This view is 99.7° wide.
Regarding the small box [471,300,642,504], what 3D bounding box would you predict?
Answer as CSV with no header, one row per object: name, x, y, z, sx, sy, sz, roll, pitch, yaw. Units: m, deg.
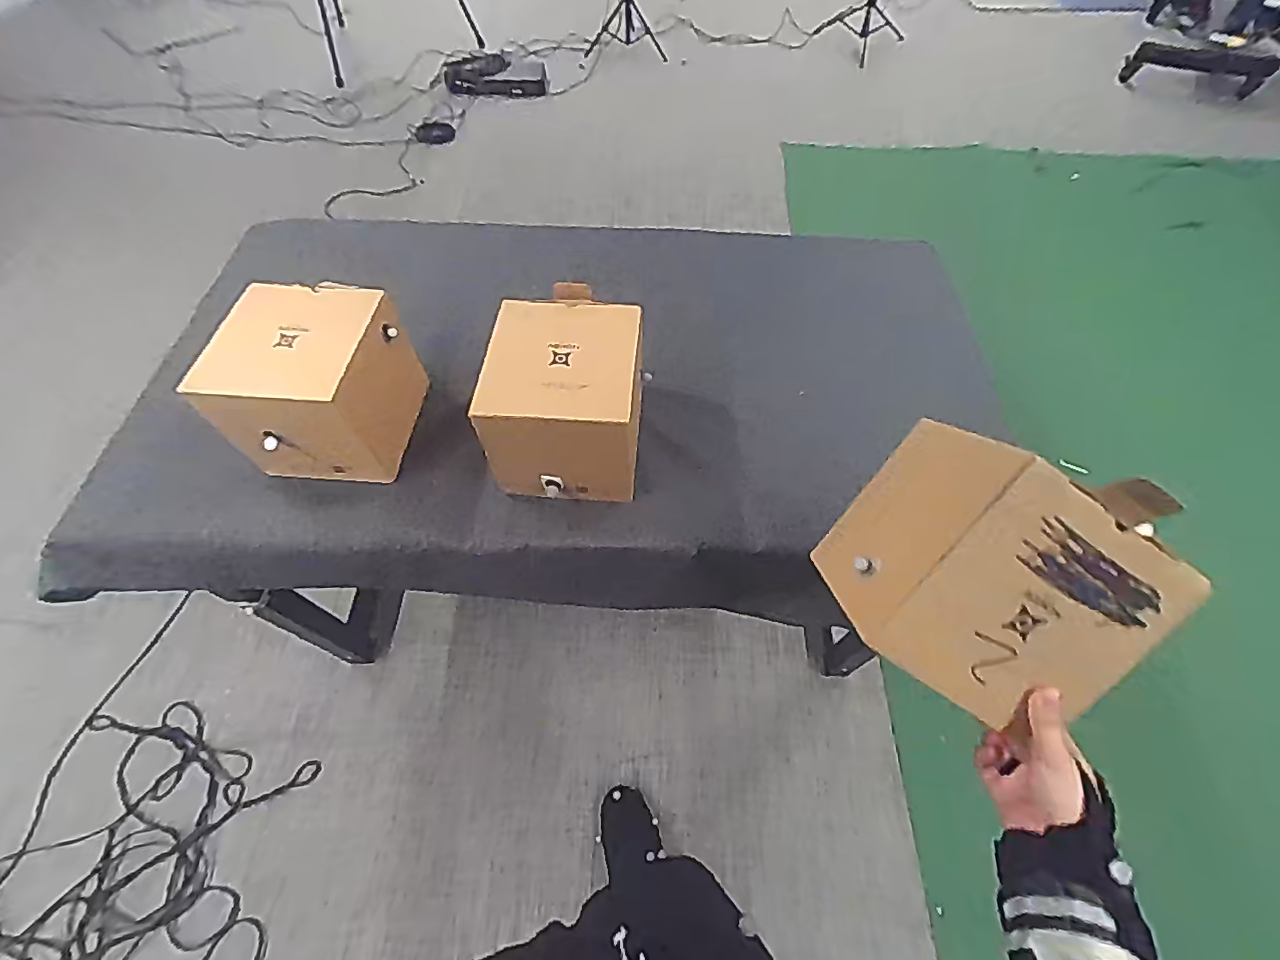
small box,-0.085,-0.090,0.652,0.168,0.176,0.179,2,58,2

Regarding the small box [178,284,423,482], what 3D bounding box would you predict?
small box,-0.389,-0.113,0.663,0.168,0.176,0.179,3,57,2
